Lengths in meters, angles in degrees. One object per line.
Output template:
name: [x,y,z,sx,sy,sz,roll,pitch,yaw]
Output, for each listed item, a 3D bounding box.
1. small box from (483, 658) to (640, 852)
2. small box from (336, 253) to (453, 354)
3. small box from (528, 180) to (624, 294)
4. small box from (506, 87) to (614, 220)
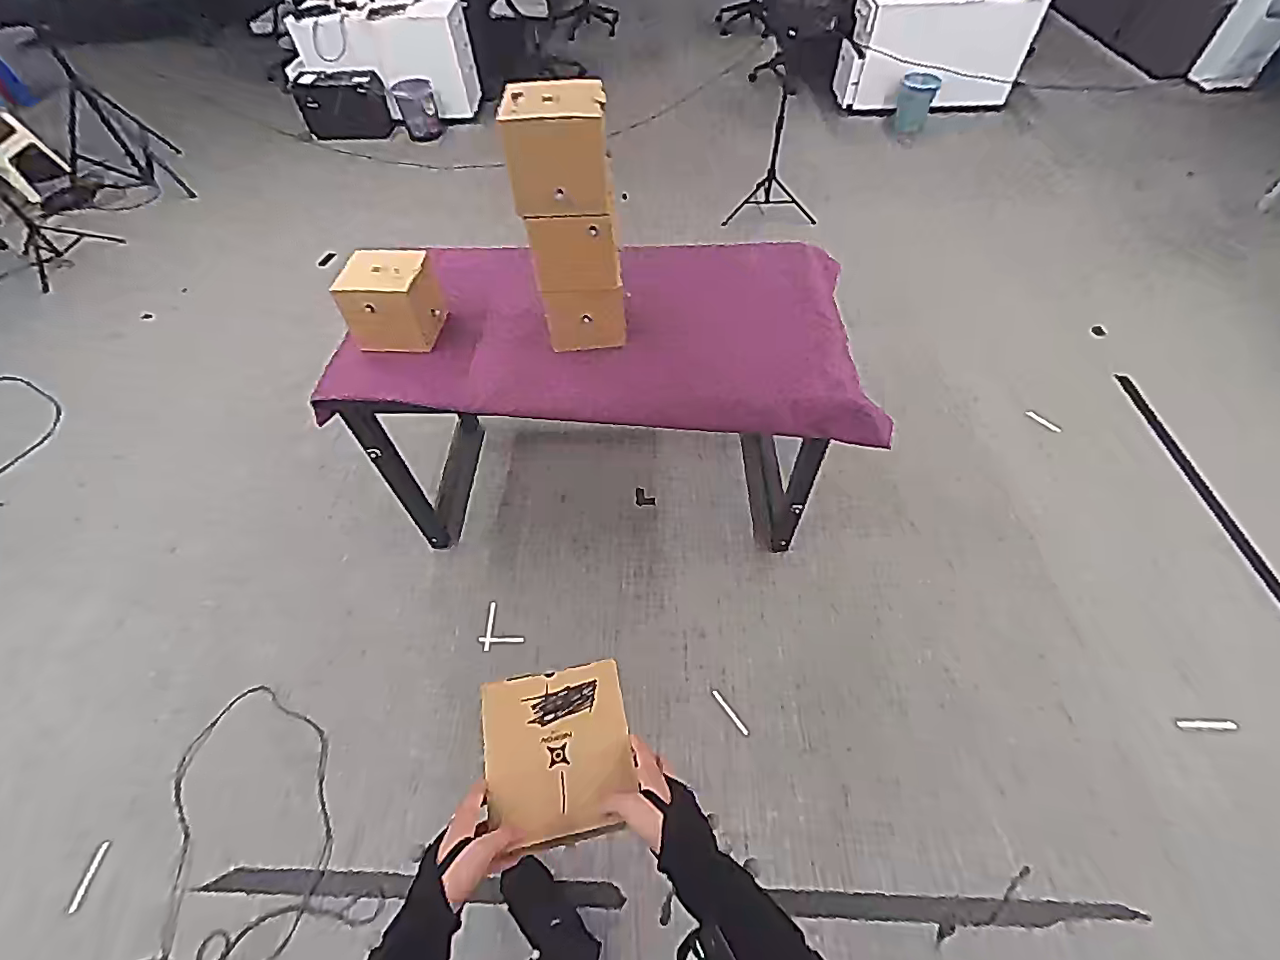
small box: [-0.099,0.349,0.683,0.168,0.176,0.179,-8,56,-9]
small box: [-0.572,-0.418,1.286,0.179,0.176,0.168,3,53,3]
small box: [-0.127,-0.511,1.146,0.179,0.176,0.168,-1,54,0]
small box: [-0.139,-0.607,1.013,0.179,0.176,0.168,-1,53,0]
